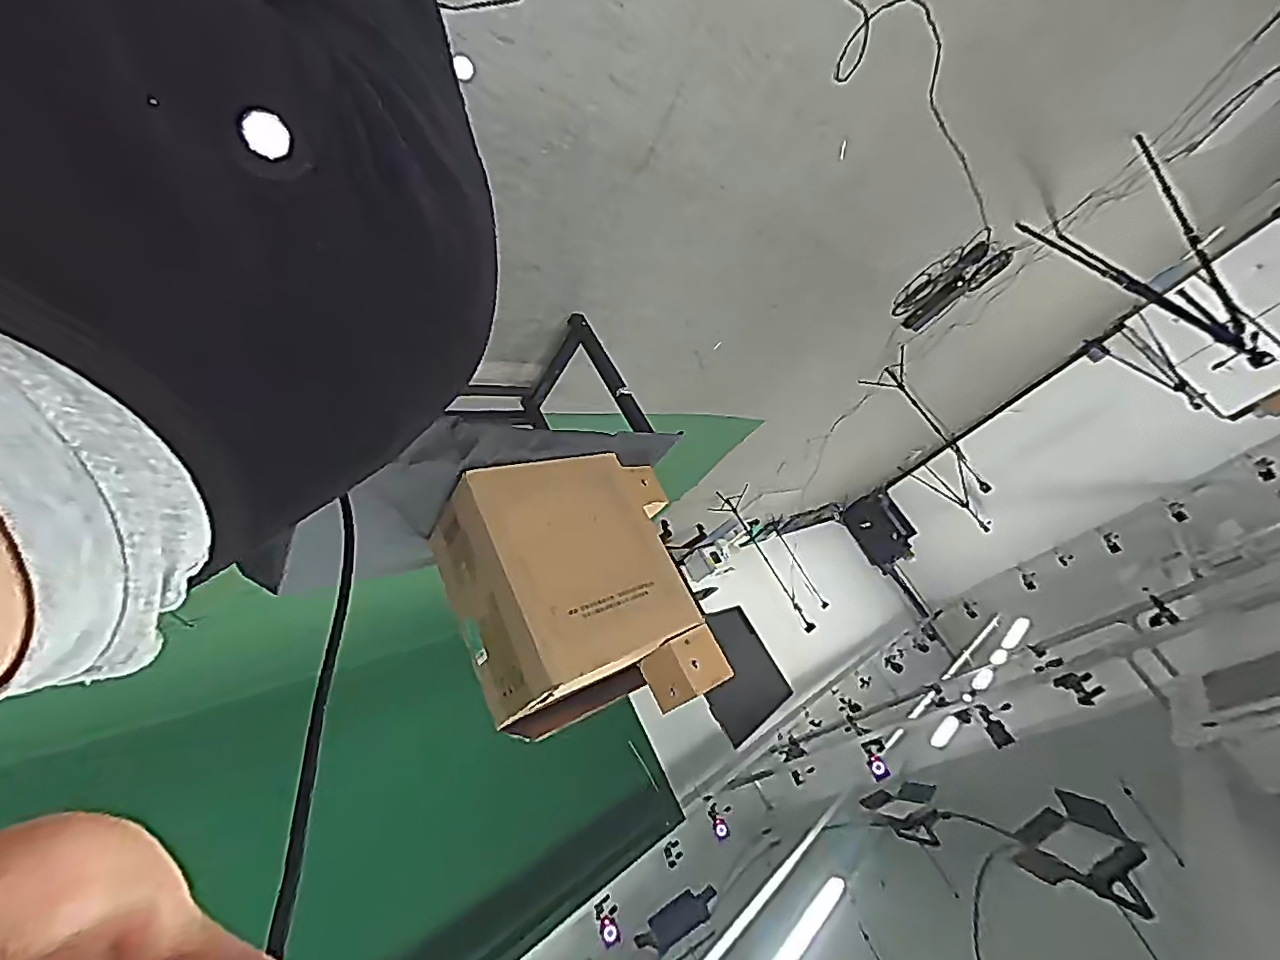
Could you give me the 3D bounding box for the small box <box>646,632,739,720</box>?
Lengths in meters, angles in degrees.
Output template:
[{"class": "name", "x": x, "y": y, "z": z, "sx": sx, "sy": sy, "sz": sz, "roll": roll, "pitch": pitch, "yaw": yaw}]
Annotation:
[{"class": "small box", "x": 0.144, "y": 0.558, "z": 1.562, "sx": 0.168, "sy": 0.176, "sz": 0.179, "roll": -9, "pitch": 152, "yaw": -41}]
